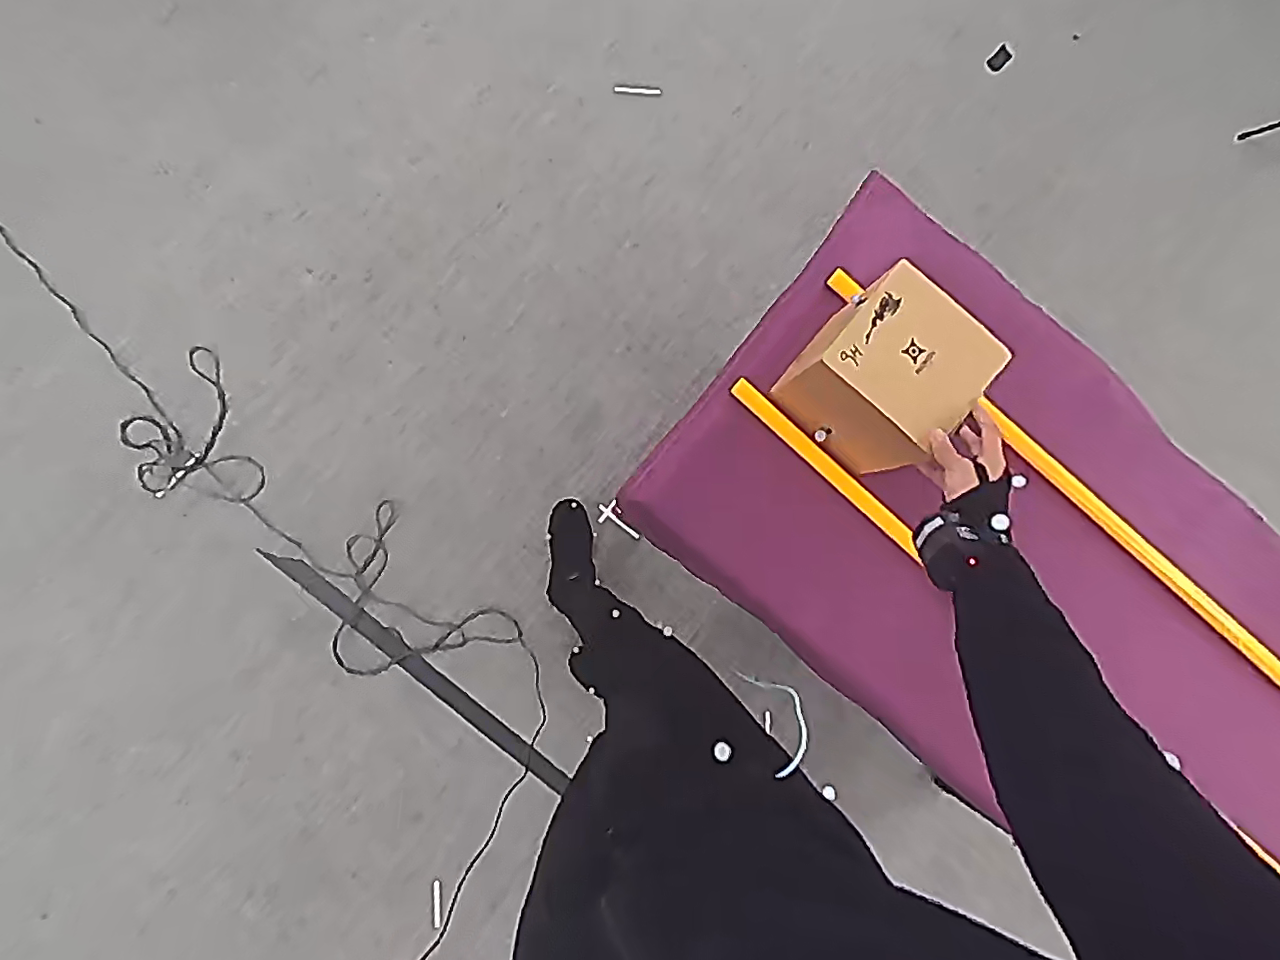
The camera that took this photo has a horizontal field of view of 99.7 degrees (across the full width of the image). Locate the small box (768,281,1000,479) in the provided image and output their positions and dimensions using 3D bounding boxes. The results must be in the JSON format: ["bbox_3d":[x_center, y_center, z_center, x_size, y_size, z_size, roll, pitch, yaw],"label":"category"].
[{"bbox_3d":[0.302,-0.114,0.704,0.179,0.176,0.168,41,81,-2],"label":"small box"}]
